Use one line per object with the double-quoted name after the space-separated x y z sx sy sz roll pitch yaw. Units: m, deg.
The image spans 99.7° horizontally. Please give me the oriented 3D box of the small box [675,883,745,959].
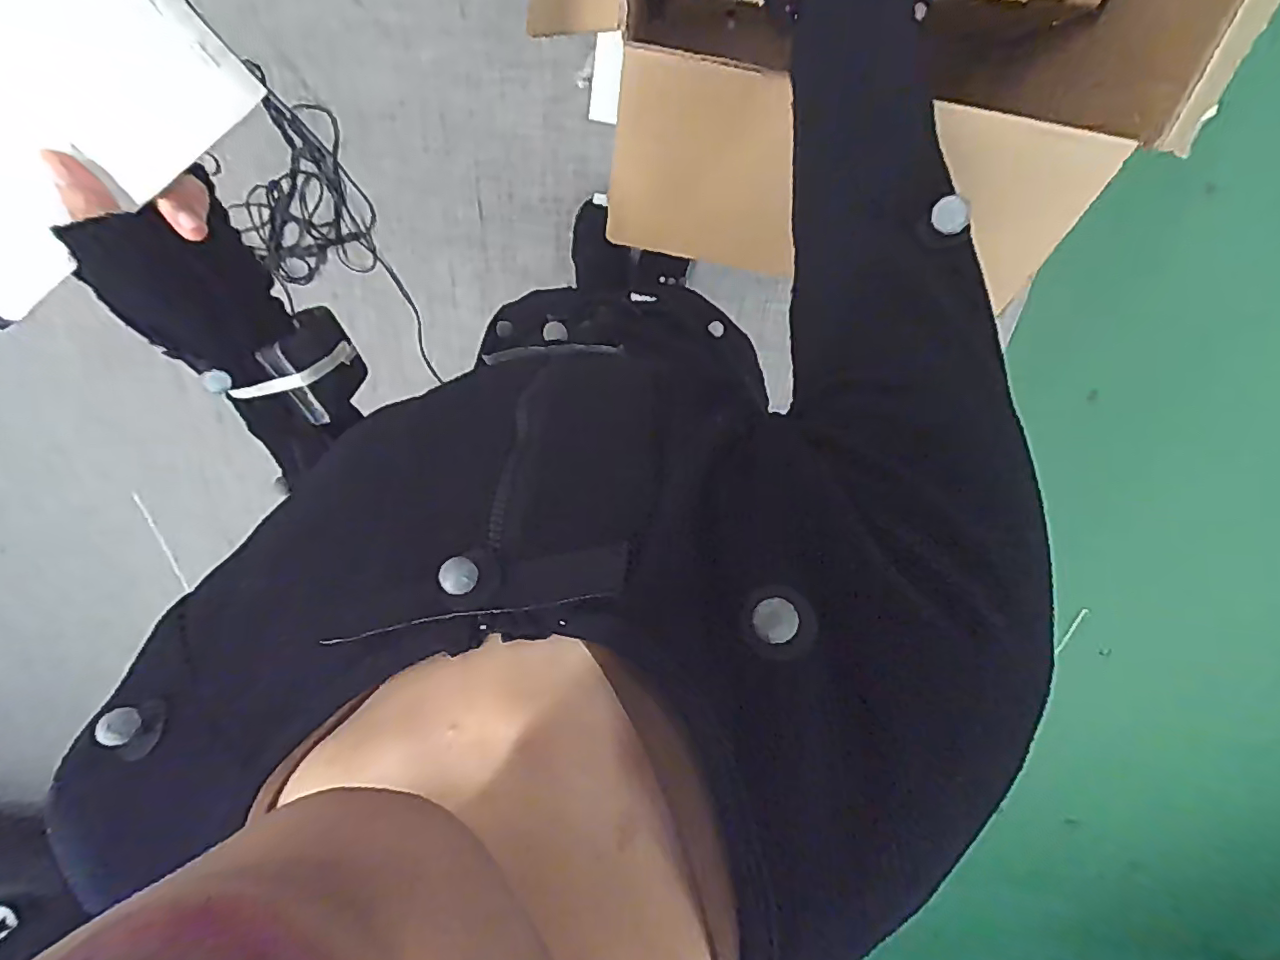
0.179 1.196 1.423 0.168 0.176 0.179 -1 122 2 "small box"
